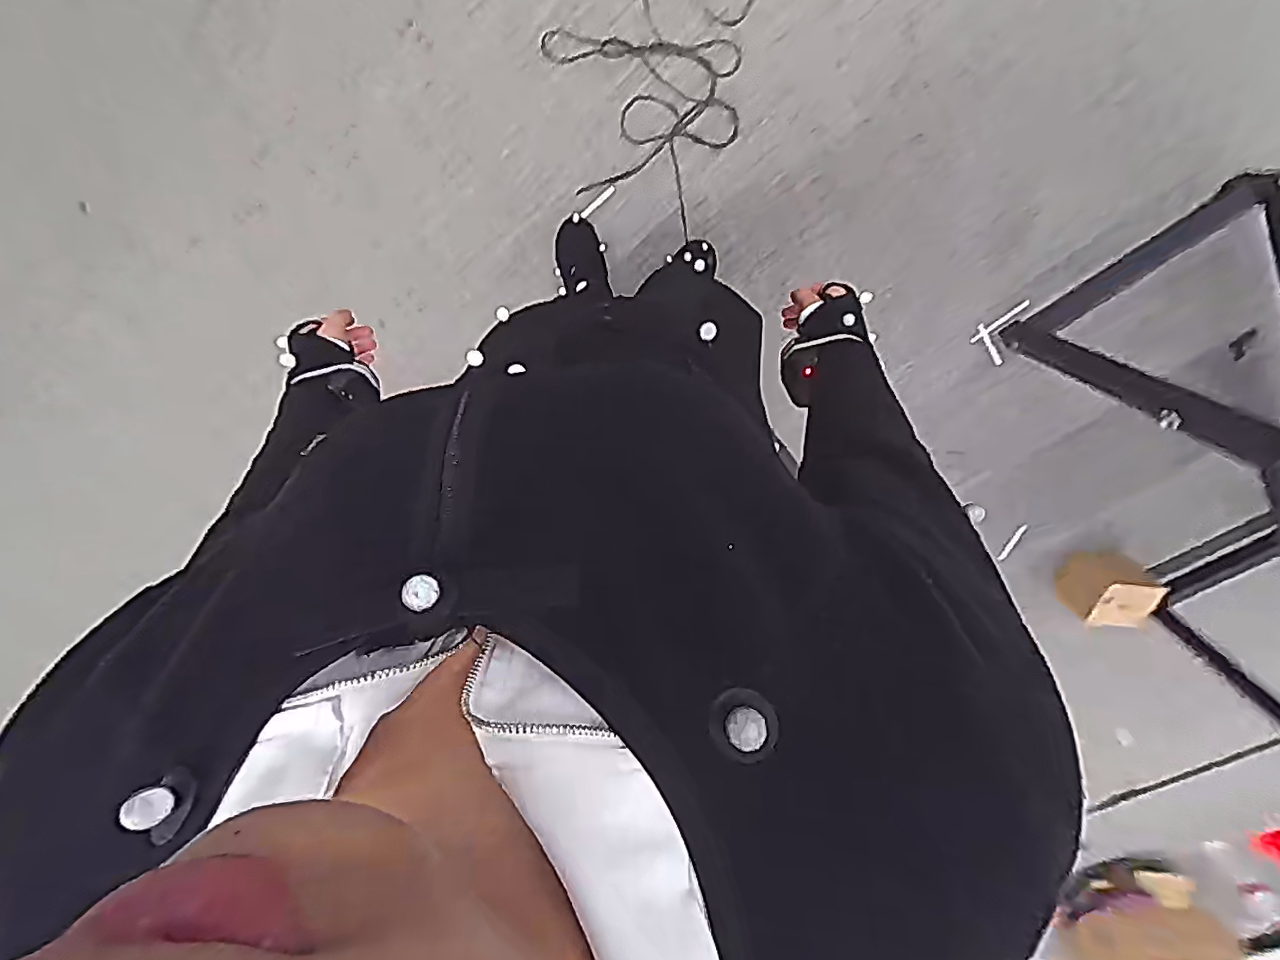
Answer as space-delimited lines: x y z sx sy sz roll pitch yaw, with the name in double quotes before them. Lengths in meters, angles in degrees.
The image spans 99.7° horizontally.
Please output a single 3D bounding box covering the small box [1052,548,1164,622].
"small box" 1.487 0.332 1.731 0.179 0.176 0.168 3 119 -2
